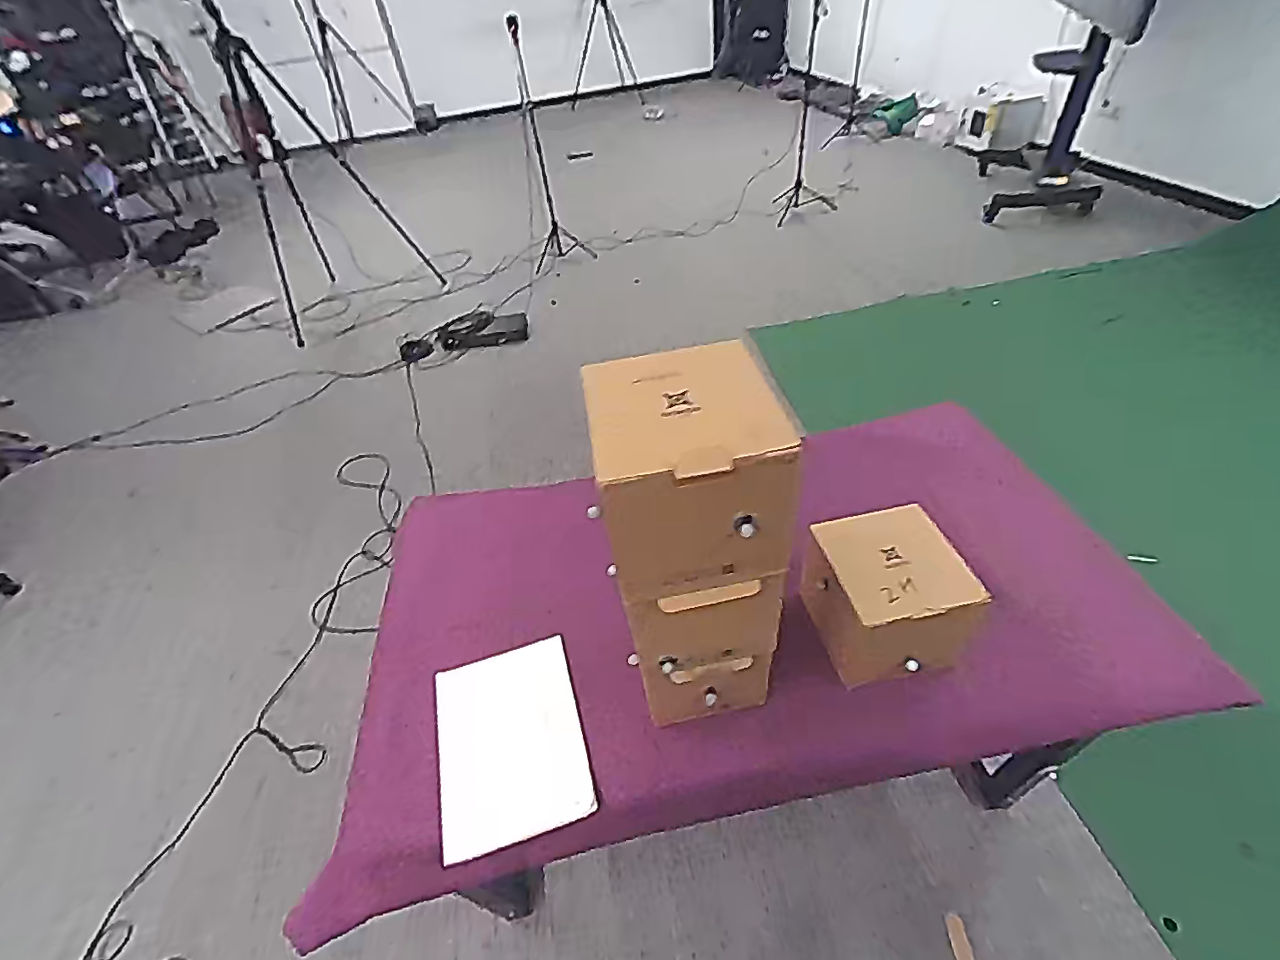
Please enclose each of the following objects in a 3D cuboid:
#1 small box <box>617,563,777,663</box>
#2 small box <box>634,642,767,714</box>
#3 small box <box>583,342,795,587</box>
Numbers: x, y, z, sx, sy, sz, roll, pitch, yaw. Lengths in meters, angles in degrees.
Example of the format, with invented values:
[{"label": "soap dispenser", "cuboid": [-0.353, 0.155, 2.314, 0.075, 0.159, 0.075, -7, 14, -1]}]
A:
[{"label": "small box", "cuboid": [0.058, 0.103, 0.658, 0.168, 0.176, 0.179, -11, 43, -3]}, {"label": "small box", "cuboid": [0.075, 0.216, 0.776, 0.168, 0.176, 0.179, -11, 45, -3]}, {"label": "small box", "cuboid": [0.042, -0.010, 0.541, 0.168, 0.176, 0.179, -10, 43, -2]}]
